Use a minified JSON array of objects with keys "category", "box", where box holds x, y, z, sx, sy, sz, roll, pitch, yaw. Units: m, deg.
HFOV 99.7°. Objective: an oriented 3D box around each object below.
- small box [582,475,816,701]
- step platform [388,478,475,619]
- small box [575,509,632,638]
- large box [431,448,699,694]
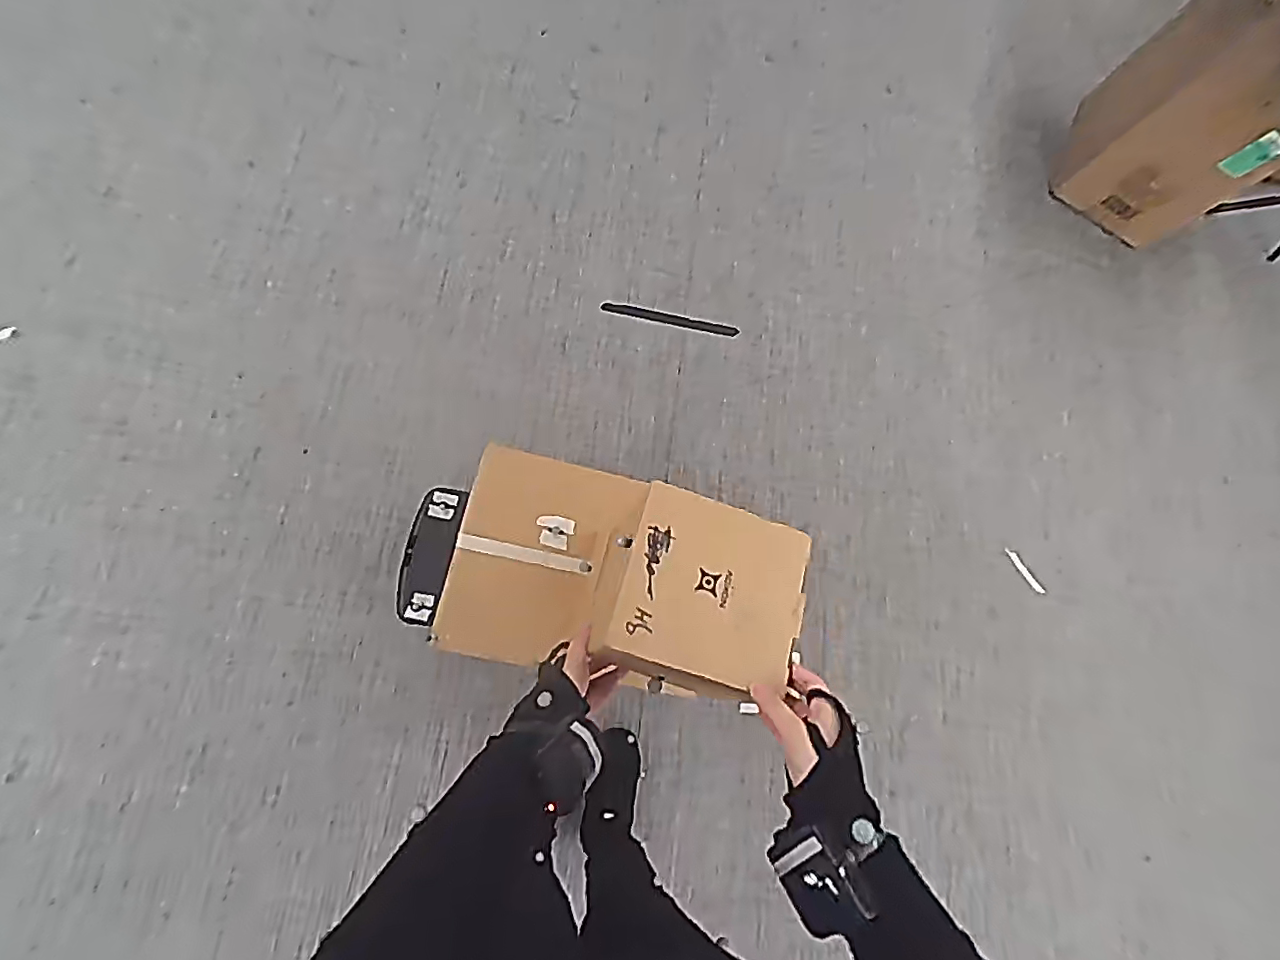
[{"category":"small box","box":[0.054,0.120,0.571,0.179,0.176,0.168,21,66,-7]},{"category":"step platform","box":[-0.172,0.218,1.188,0.684,0.204,0.286,16,75,-7]},{"category":"small box","box":[0.020,0.152,0.737,0.179,0.176,0.168,16,74,-7]},{"category":"large box","box":[-0.100,0.168,0.965,0.408,0.320,0.320,13,74,-7]}]
